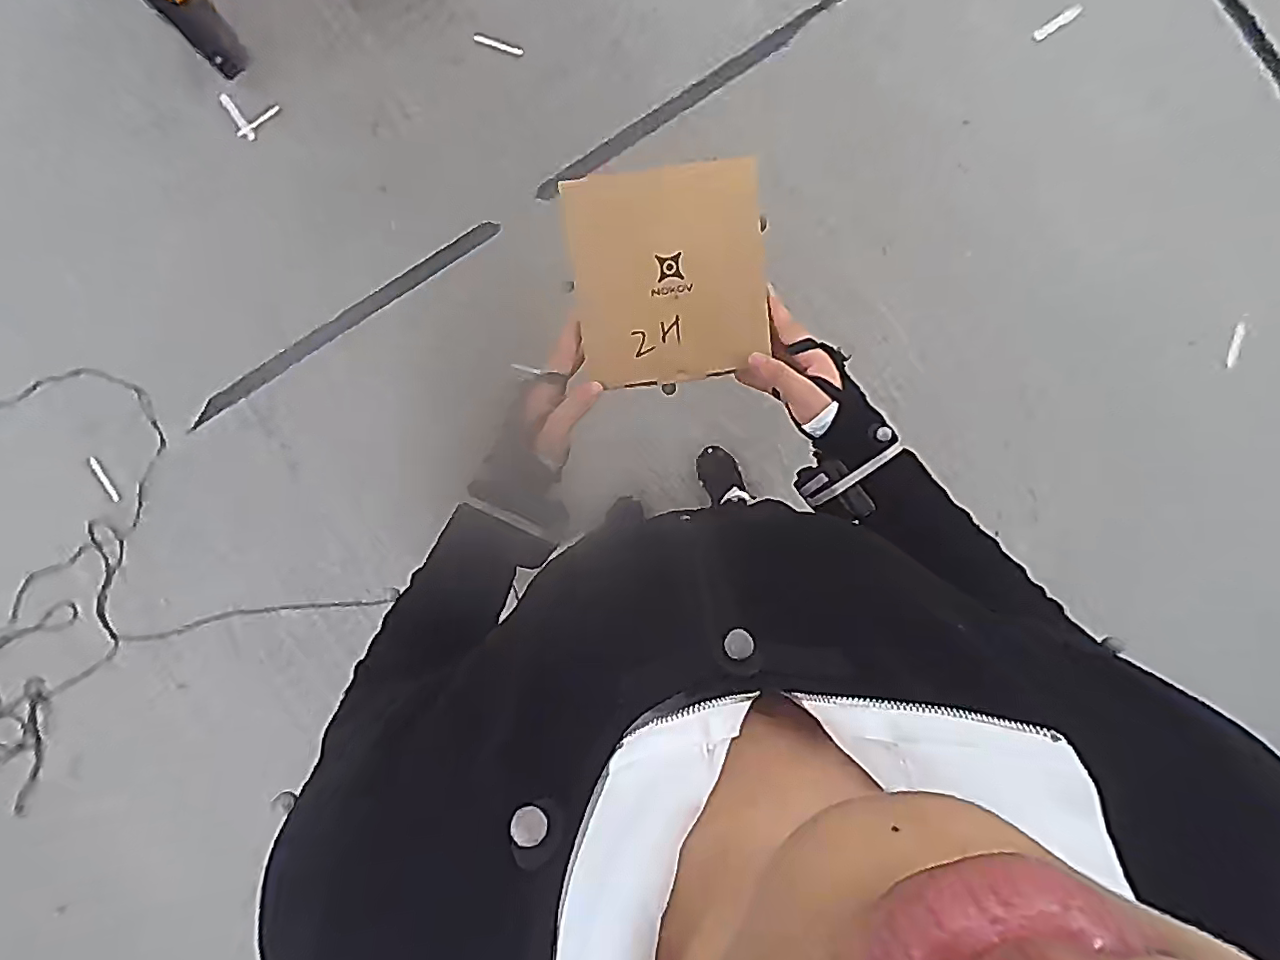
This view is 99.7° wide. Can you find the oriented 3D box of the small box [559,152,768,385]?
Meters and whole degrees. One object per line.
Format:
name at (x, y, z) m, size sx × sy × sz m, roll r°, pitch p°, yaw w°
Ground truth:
small box at (0.018, -0.192, 0.542) m, size 0.168 × 0.176 × 0.179 m, roll -9°, pitch 101°, yaw -1°
